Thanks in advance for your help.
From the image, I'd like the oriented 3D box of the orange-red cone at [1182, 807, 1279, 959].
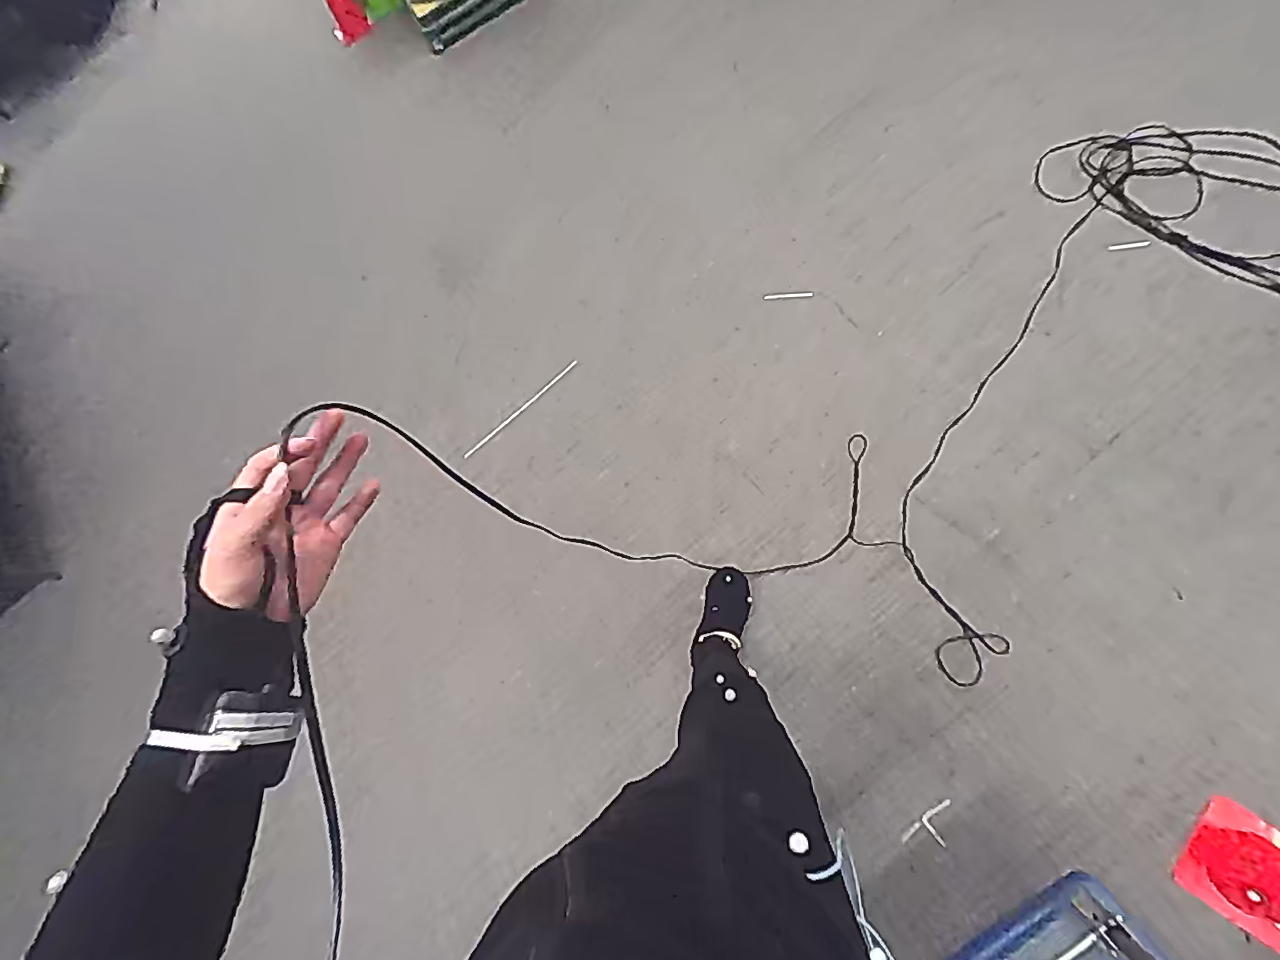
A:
[{"bbox_3d":[1.139,0.712,0.871,0.198,0.360,0.199,34,82,21],"label":"orange-red cone"}]
